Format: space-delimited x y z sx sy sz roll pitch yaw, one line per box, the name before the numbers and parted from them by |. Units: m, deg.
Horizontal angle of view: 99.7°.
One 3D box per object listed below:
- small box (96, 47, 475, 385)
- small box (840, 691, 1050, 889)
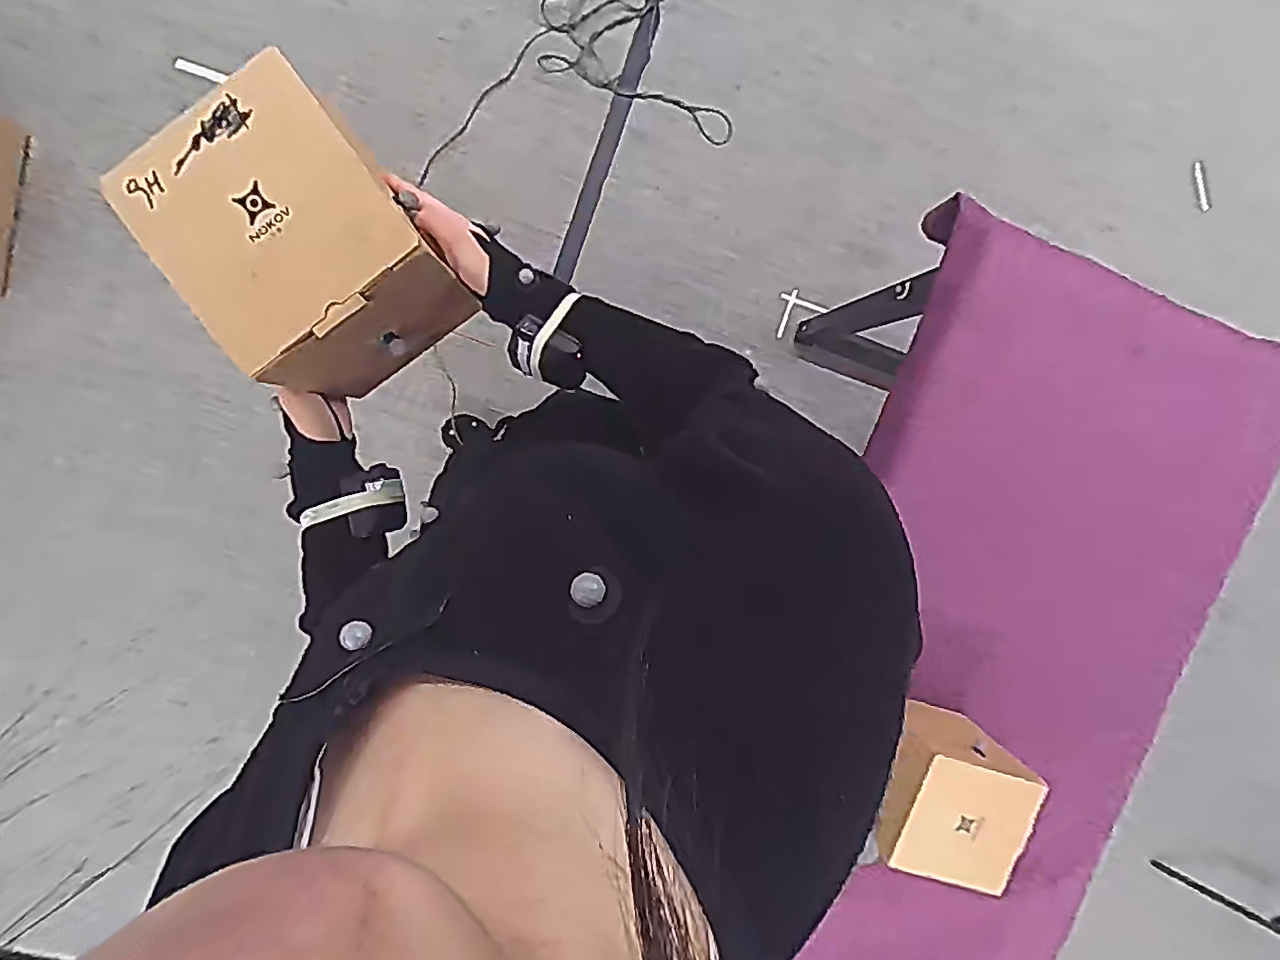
small box | -0.272 -0.196 0.466 0.168 0.176 0.179 -36 94 1
small box | 0.423 0.432 0.781 0.179 0.176 0.168 19 95 -8
